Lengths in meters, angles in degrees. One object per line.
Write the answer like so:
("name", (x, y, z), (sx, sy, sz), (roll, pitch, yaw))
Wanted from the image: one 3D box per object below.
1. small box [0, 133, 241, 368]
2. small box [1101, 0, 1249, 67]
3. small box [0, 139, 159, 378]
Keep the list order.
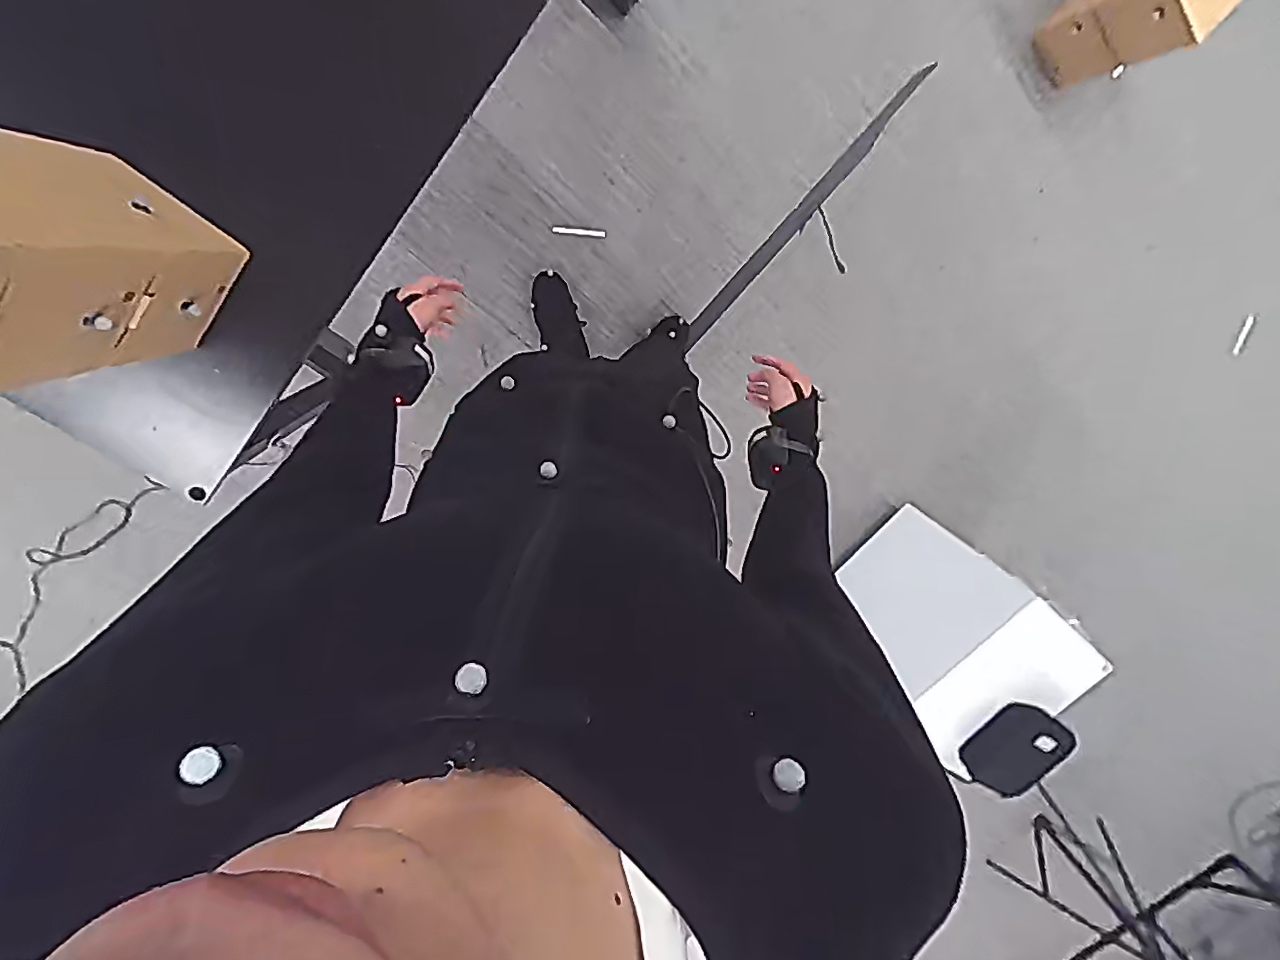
("small box", (-0.620, -0.261, 0.628), (0.179, 0.176, 0.168), (36, 103, -20))
("small box", (1.157, -1.044, 1.161), (0.179, 0.176, 0.168), (38, 102, -21))
("small box", (-0.601, -0.201, 0.476), (0.179, 0.176, 0.168), (37, 104, -20))
